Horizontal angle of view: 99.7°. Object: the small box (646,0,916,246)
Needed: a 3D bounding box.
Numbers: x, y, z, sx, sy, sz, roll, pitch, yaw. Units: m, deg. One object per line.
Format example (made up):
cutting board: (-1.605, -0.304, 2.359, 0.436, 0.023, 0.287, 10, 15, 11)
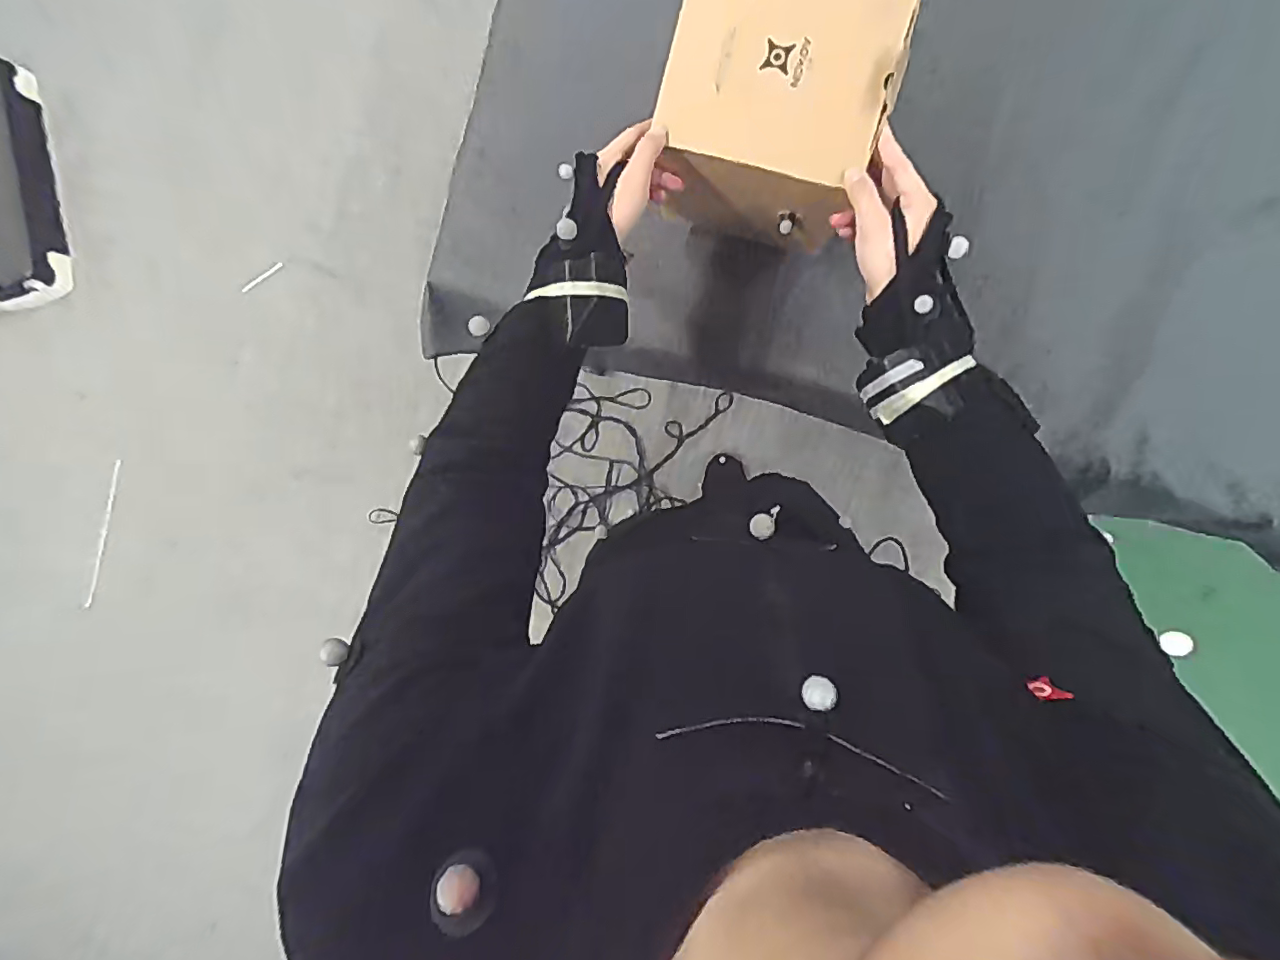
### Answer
small box: (0.118, -0.336, 0.497, 0.179, 0.176, 0.168, 16, 96, 7)
